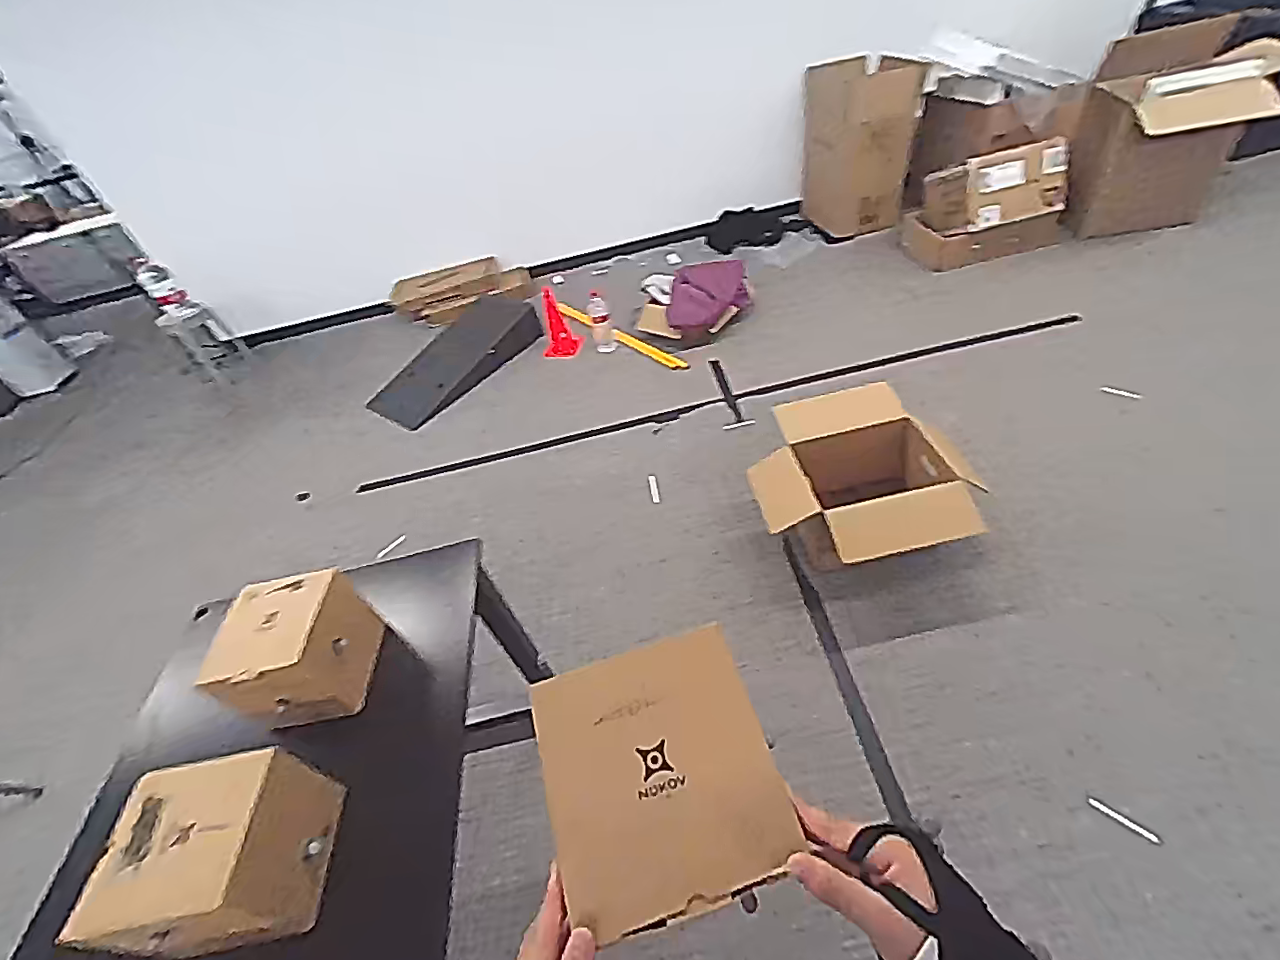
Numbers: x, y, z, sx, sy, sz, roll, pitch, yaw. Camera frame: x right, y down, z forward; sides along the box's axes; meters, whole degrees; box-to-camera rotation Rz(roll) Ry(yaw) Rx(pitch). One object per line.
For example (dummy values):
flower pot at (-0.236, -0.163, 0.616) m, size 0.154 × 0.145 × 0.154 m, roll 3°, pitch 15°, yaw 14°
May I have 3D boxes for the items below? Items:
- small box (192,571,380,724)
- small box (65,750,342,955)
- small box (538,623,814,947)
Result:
small box at (-0.556, 0.280, 0.883) m, size 0.168 × 0.176 × 0.179 m, roll -12°, pitch 45°, yaw 4°
small box at (-0.521, 0.470, 0.680) m, size 0.179 × 0.176 × 0.168 m, roll -13°, pitch 44°, yaw 1°
small box at (0.025, 0.253, 0.462) m, size 0.168 × 0.176 × 0.179 m, roll -17°, pitch 53°, yaw -6°
